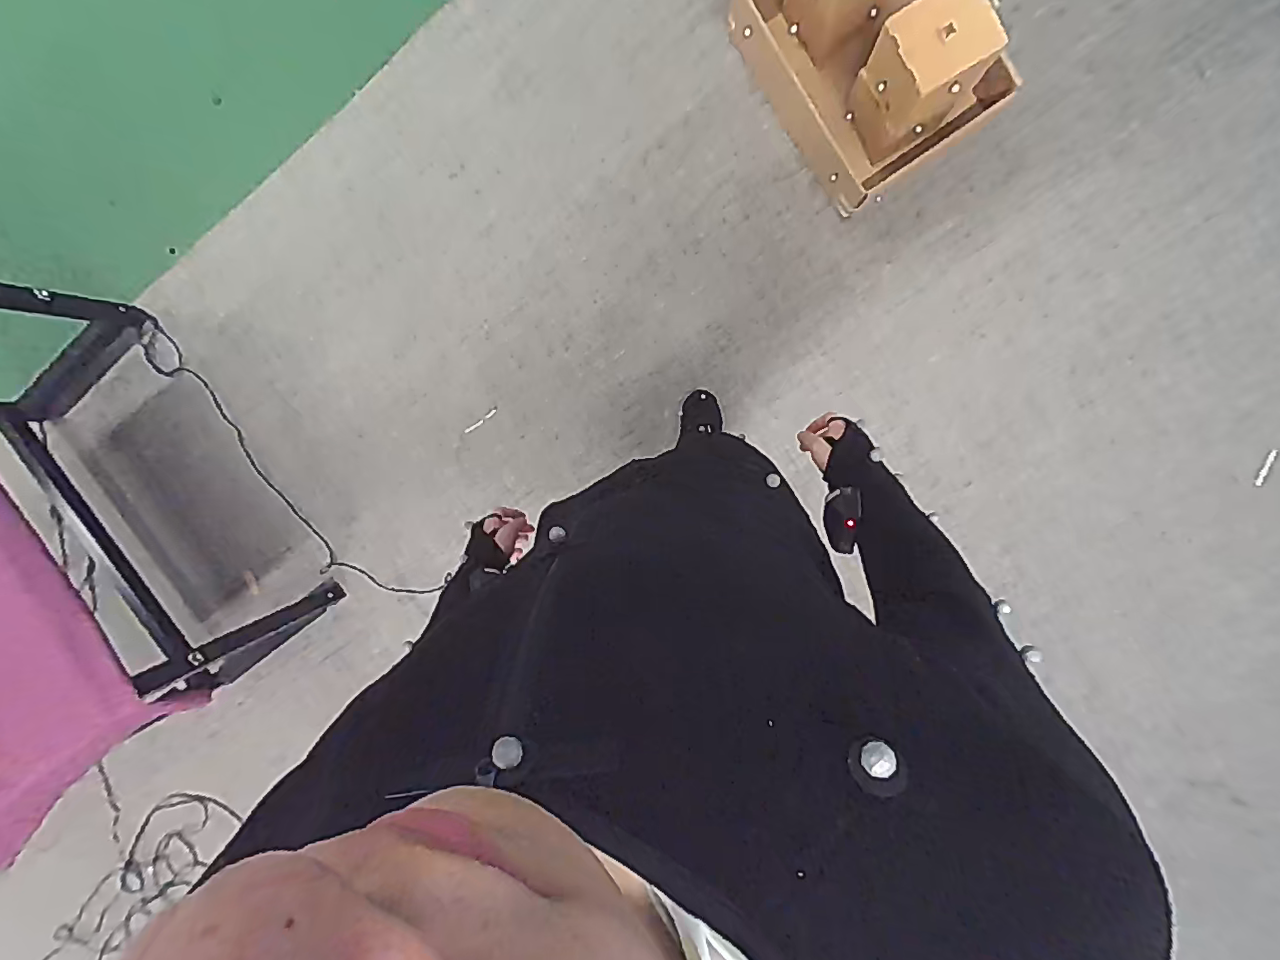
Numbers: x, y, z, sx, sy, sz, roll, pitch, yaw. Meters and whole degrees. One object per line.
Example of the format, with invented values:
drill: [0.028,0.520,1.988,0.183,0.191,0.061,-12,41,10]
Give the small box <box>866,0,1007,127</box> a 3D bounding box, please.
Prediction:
small box: [0.603,-0.890,1.122,0.179,0.176,0.168,-28,94,12]
